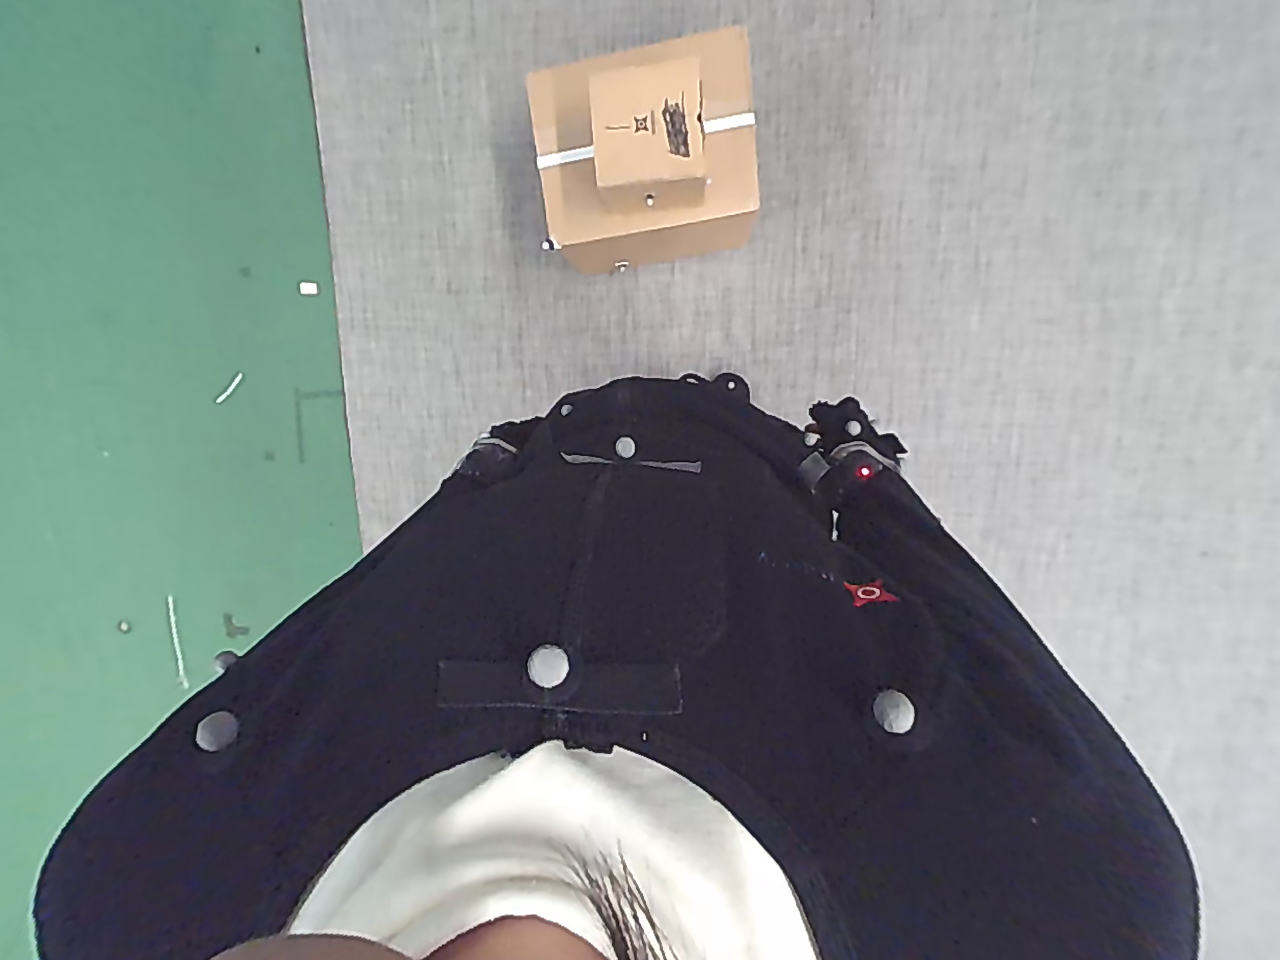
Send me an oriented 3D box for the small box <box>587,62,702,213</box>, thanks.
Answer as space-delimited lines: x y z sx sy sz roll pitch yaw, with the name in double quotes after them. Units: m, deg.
0.015 -0.576 0.931 0.179 0.176 0.168 -2 101 8 "small box"
